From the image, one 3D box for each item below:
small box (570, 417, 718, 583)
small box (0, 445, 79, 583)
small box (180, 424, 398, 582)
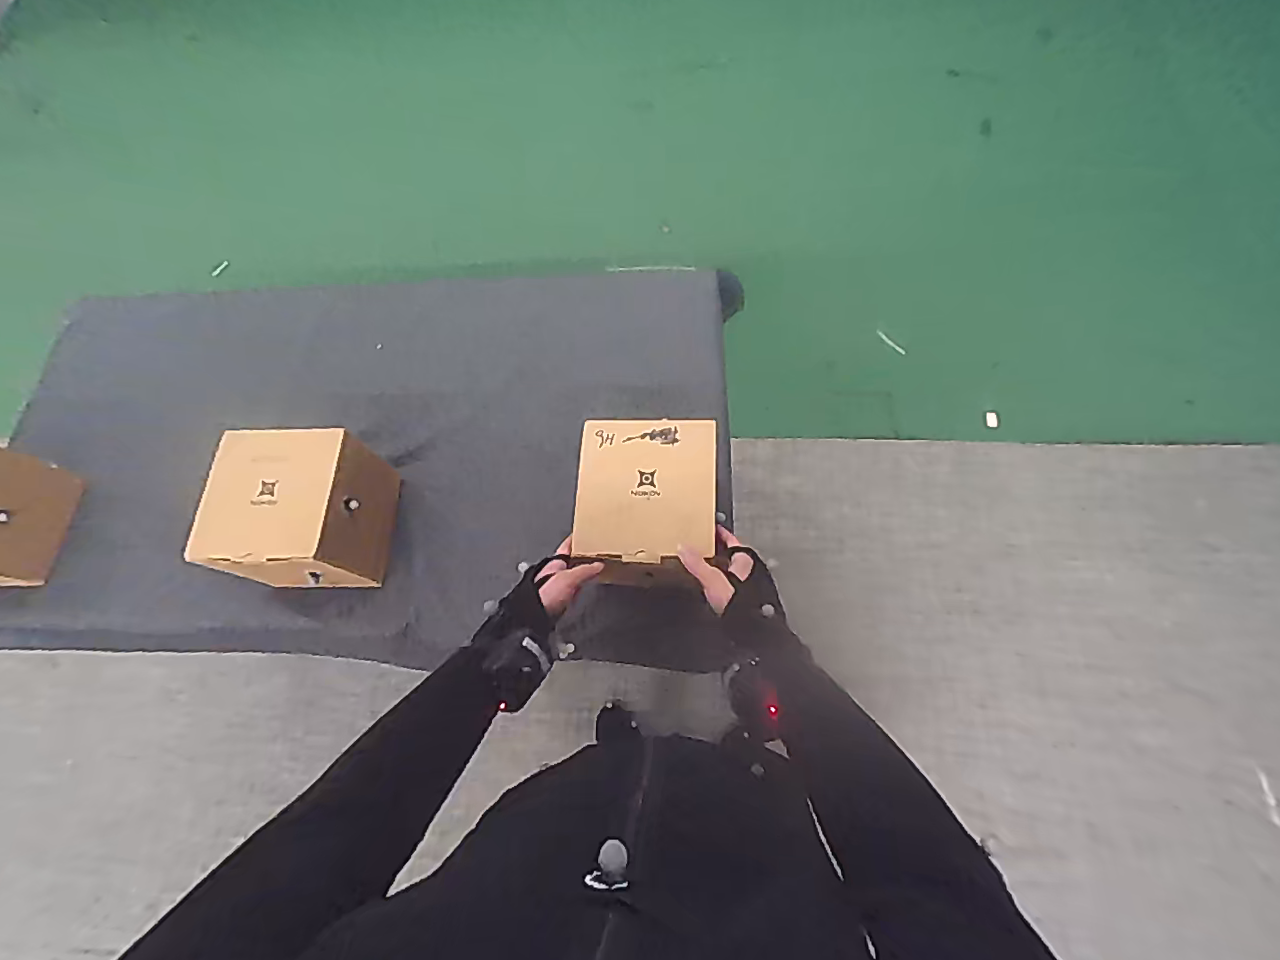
[{"bbox_3d":[0.016,0.033,0.699,0.168,0.176,0.179,1,69,7],"label":"small box"},{"bbox_3d":[-0.977,0.043,0.769,0.168,0.176,0.179,-1,68,4],"label":"small box"},{"bbox_3d":[-0.456,0.040,0.737,0.168,0.176,0.179,-1,66,2],"label":"small box"}]
